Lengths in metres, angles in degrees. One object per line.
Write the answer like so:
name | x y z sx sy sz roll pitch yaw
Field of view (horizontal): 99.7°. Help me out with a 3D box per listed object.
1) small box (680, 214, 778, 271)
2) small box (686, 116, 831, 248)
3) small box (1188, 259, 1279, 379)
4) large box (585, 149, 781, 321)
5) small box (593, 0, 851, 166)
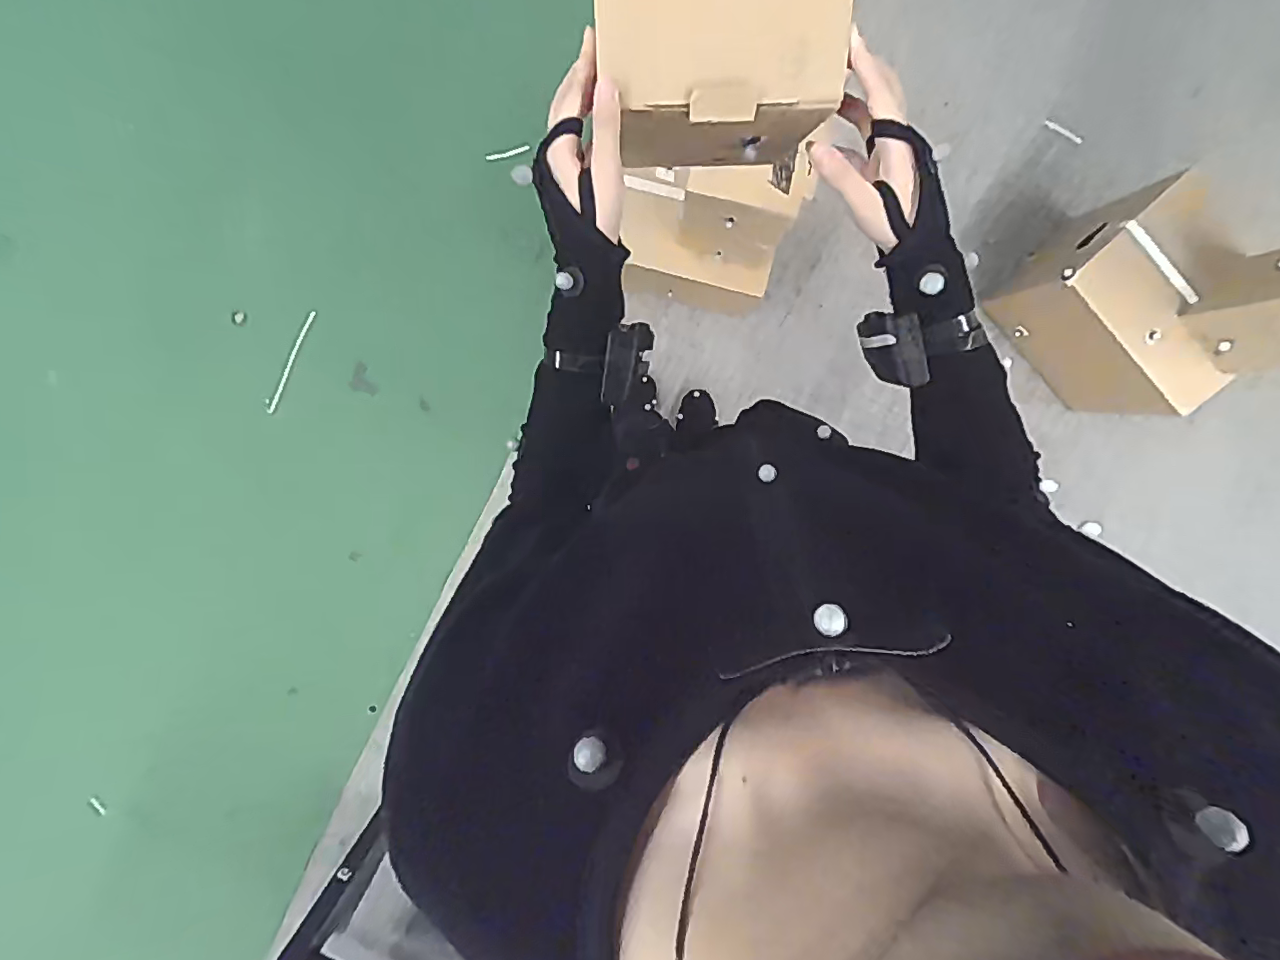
small box | 0.186 -0.516 1.034 0.179 0.176 0.168 19 98 -1
small box | 0.178 -0.491 0.871 0.179 0.176 0.168 15 99 2
small box | 1.225 -0.311 1.022 0.179 0.176 0.168 -43 94 6
large box | 0.119 -0.590 1.274 0.408 0.320 0.320 15 98 1
small box | 0.051 -0.350 0.409 0.168 0.176 0.179 -1 108 -1
